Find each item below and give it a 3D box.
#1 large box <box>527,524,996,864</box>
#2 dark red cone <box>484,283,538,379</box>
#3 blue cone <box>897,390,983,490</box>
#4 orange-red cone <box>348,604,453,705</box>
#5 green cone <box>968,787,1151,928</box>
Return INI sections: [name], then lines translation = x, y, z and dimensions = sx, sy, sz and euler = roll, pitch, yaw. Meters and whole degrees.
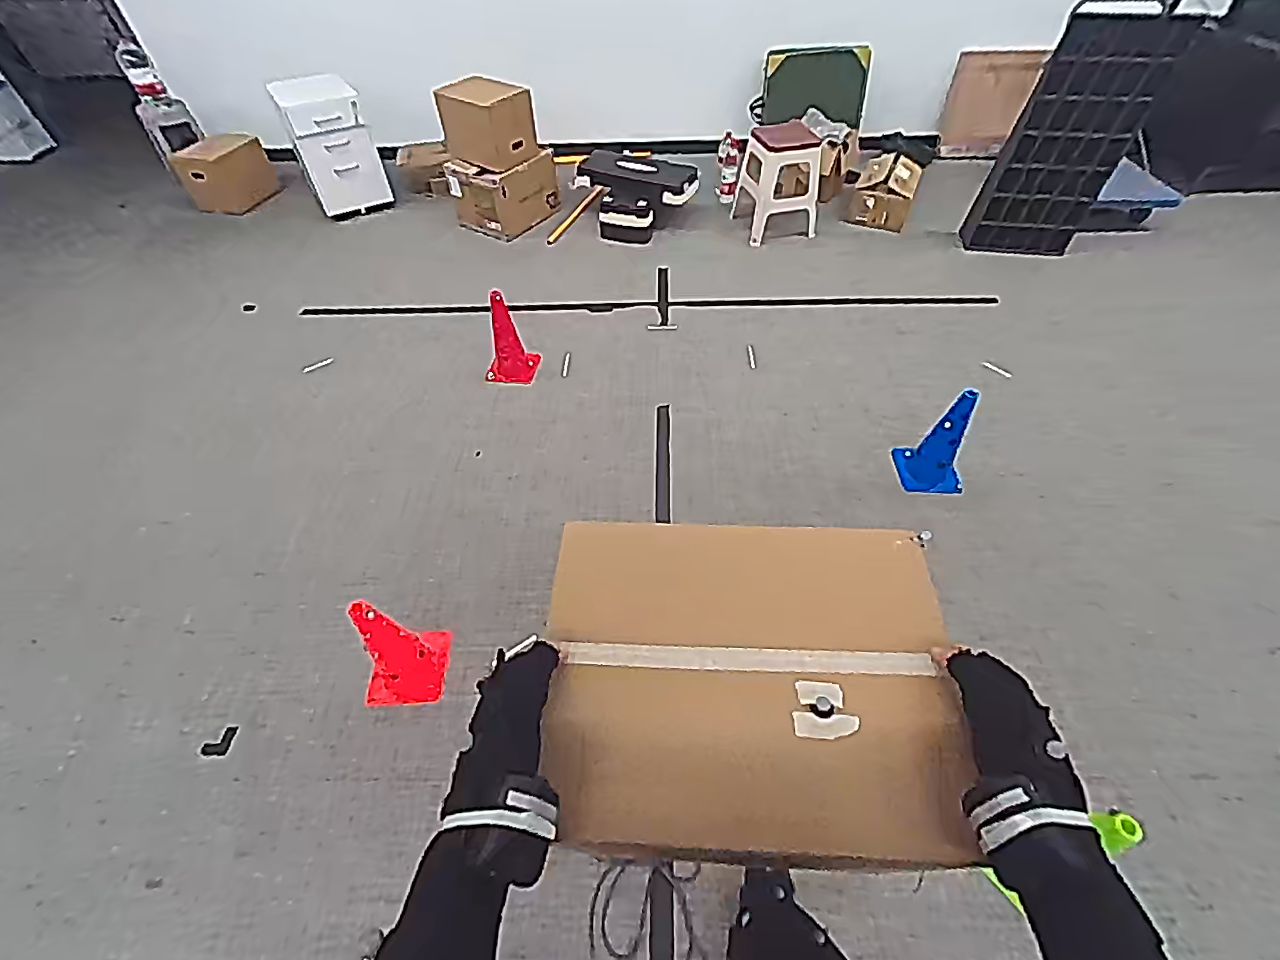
[large box]
translation = 0.107, 0.267, 0.662
dimensions = 0.408, 0.320, 0.320
euler = 1, 53, 3
[dark red cone]
translation = -0.545, -0.600, 2.170
dimensions = 0.201, 0.394, 0.202
euler = 5, 50, 5
[blue cone]
translation = 1.015, -0.143, 1.783
dimensions = 0.192, 0.380, 0.193
euler = 3, 50, 3
[orange-red cone]
translation = -0.632, 0.409, 1.354
dimensions = 0.198, 0.360, 0.199
euler = -3, 51, 1
[green cone]
translation = 0.846, 0.704, 1.051
dimensions = 0.202, 0.368, 0.200
euler = -29, 56, -23
